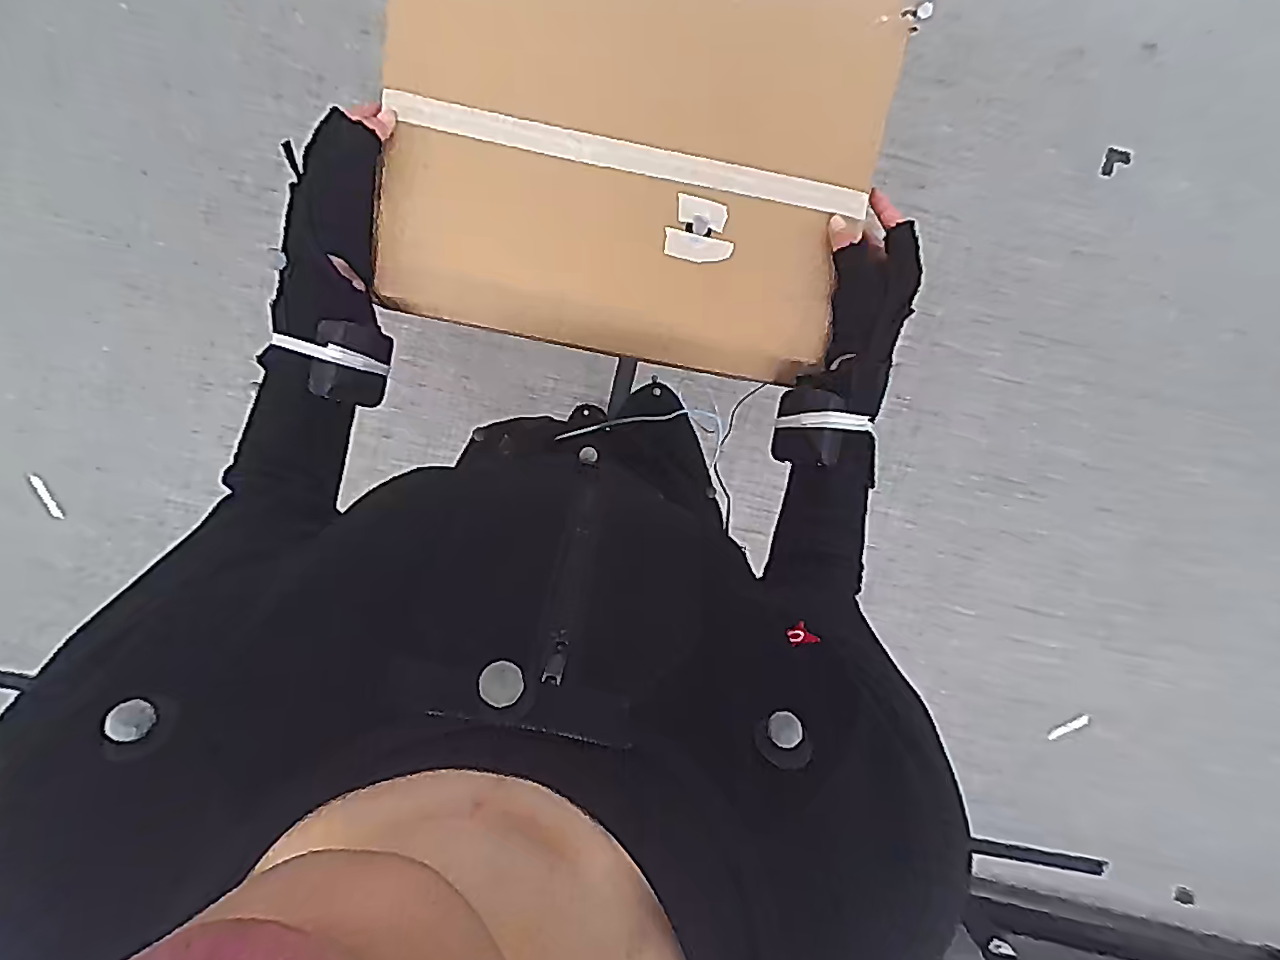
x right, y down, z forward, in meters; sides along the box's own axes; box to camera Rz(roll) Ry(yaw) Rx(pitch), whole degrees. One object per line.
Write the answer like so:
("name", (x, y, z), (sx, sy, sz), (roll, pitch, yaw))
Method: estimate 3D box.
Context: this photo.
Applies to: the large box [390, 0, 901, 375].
("large box", (-0.010, -0.309, 0.609), (0.408, 0.320, 0.320), (10, 103, -4))
